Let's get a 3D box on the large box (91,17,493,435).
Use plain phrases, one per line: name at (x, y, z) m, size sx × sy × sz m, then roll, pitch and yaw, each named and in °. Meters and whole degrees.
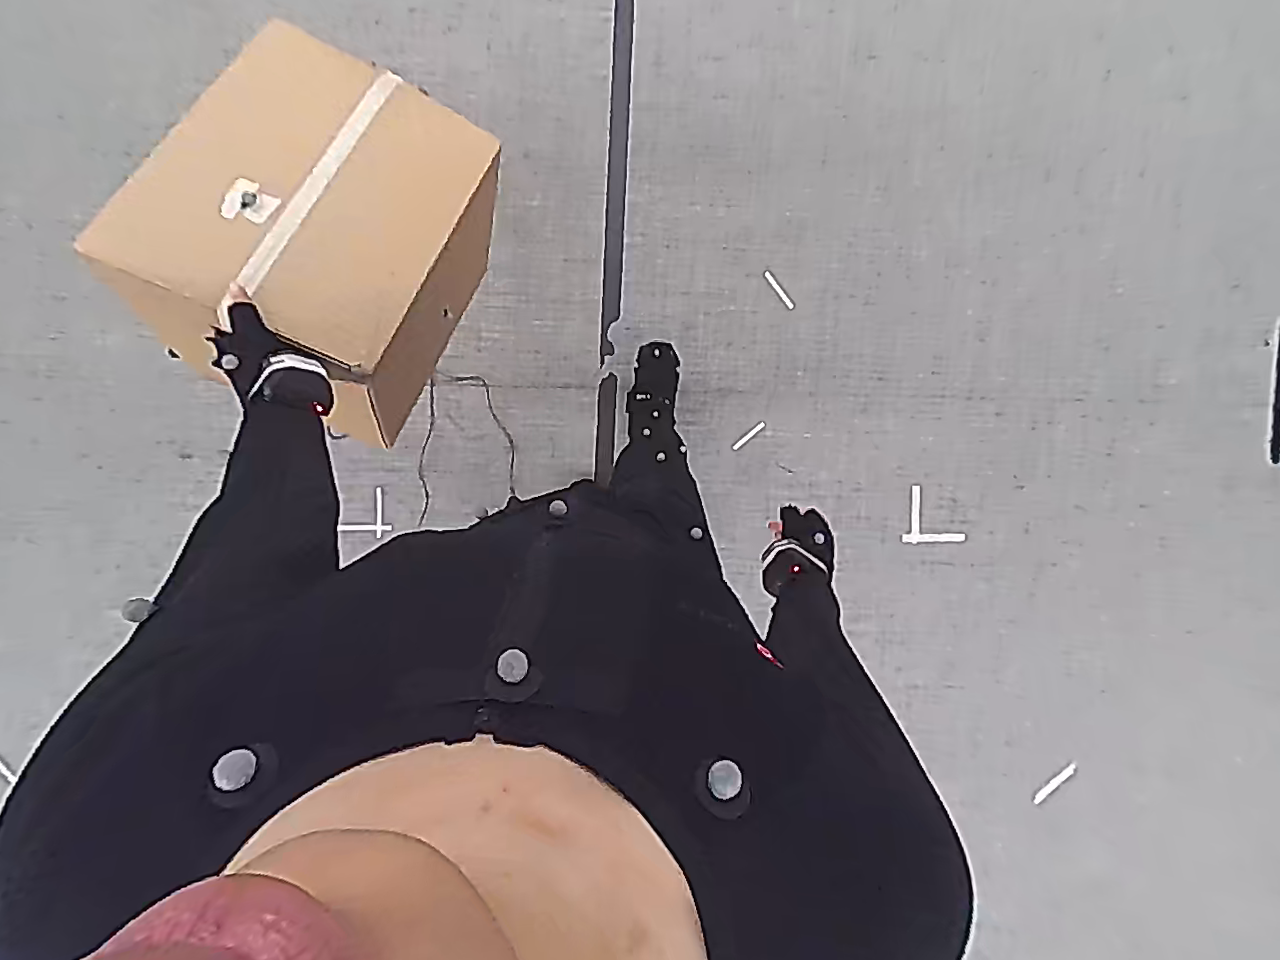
large box at (-0.451, -0.338, 0.814) m, size 0.320 × 0.320 × 0.408 m, roll 23°, pitch 72°, yaw -13°
